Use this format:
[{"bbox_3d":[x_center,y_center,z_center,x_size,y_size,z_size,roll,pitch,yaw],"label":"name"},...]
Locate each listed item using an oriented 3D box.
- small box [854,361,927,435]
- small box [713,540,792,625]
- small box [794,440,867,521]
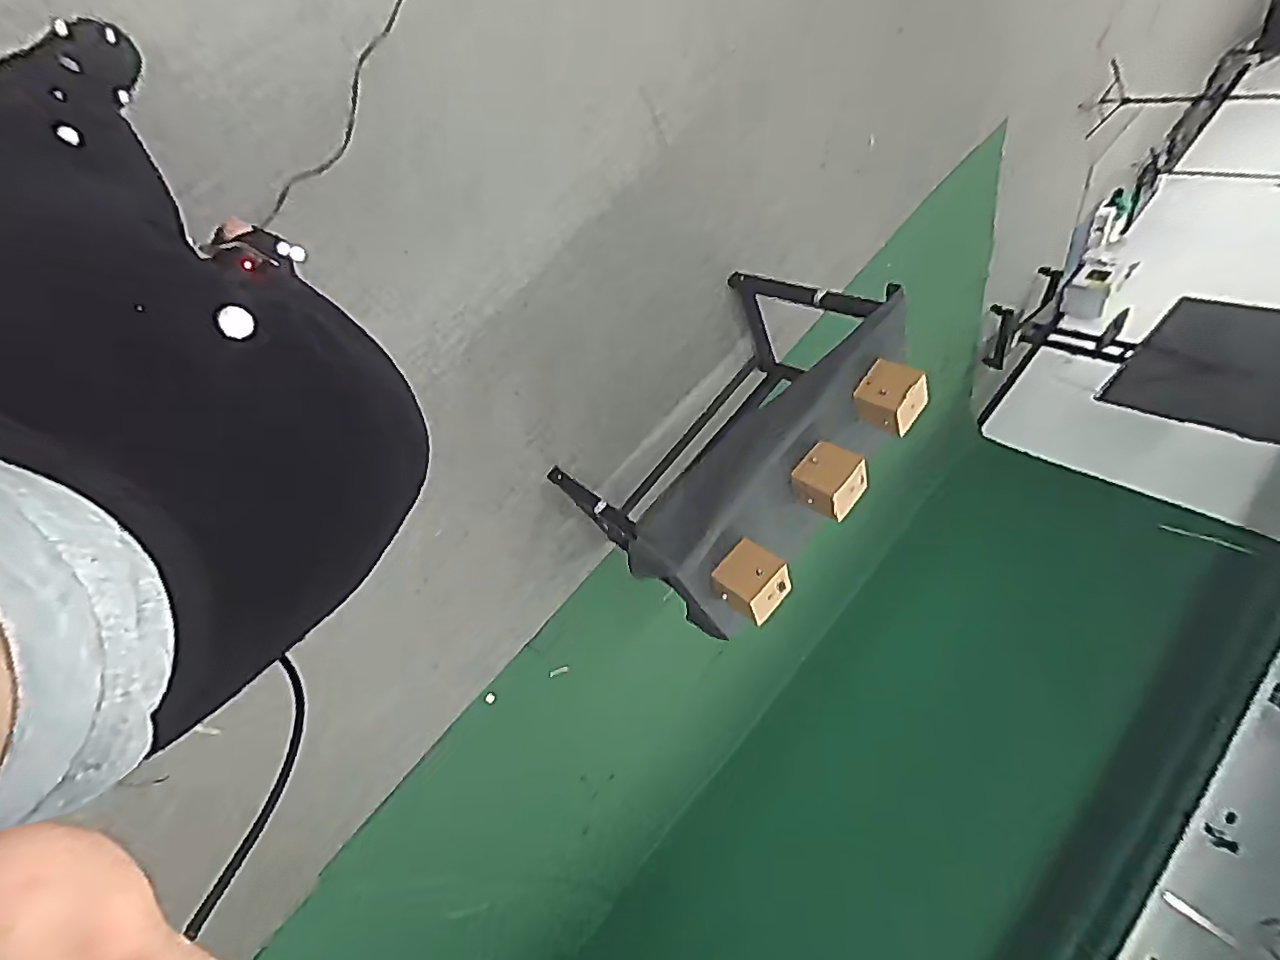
[{"bbox_3d":[0.863,-0.290,1.868,0.168,0.176,0.179,-52,142,-4],"label":"small box"},{"bbox_3d":[0.363,0.324,1.746,0.179,0.176,0.168,-44,138,-16],"label":"small box"},{"bbox_3d":[0.637,-0.001,1.820,0.179,0.176,0.168,-46,139,-12],"label":"small box"}]
